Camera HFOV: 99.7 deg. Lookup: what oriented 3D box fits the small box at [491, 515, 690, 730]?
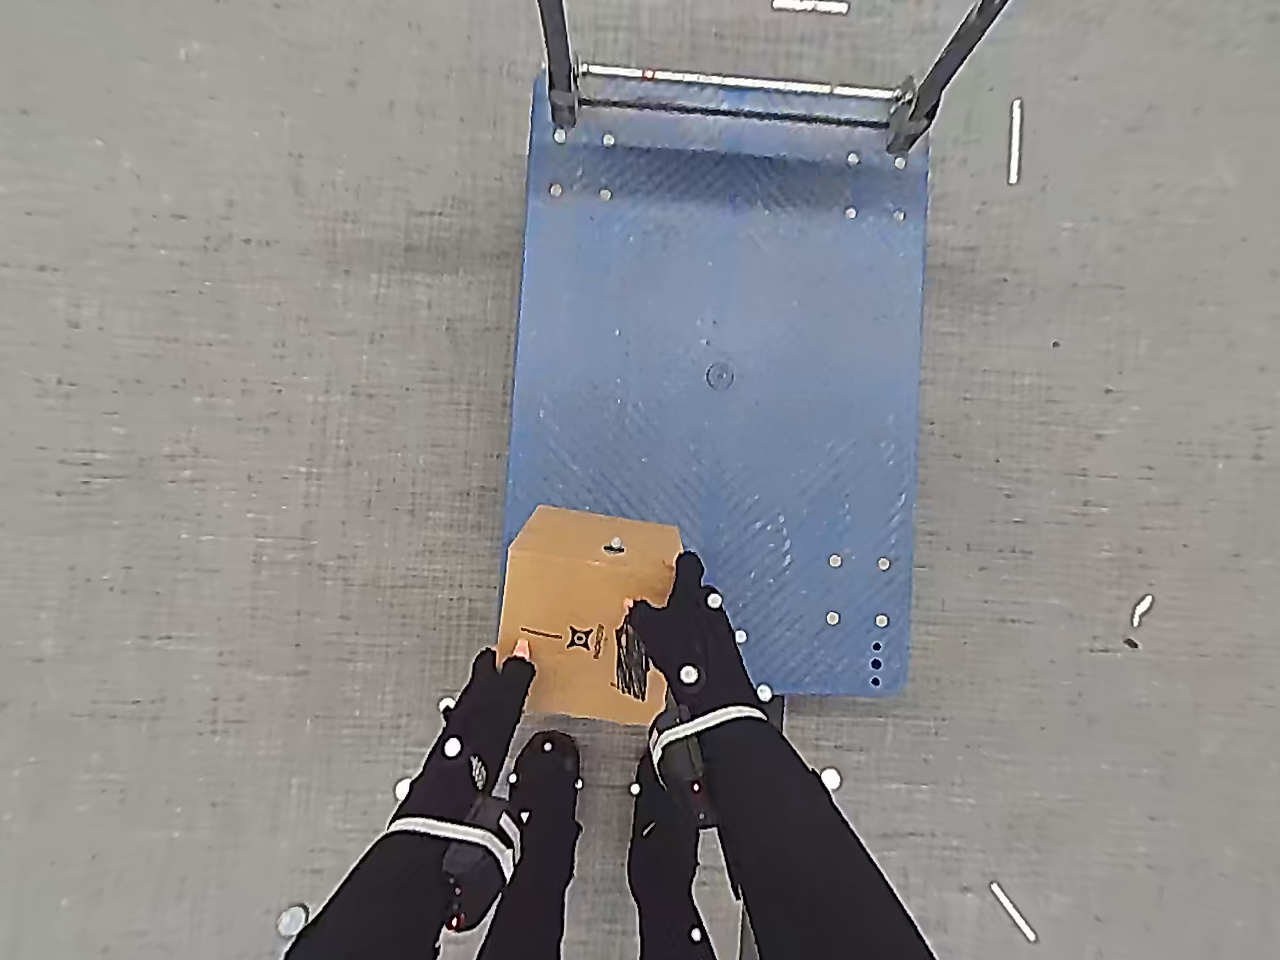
[{"bbox_3d":[-0.051,0.146,0.606,0.179,0.176,0.168,9,101,-2],"label":"small box"}]
